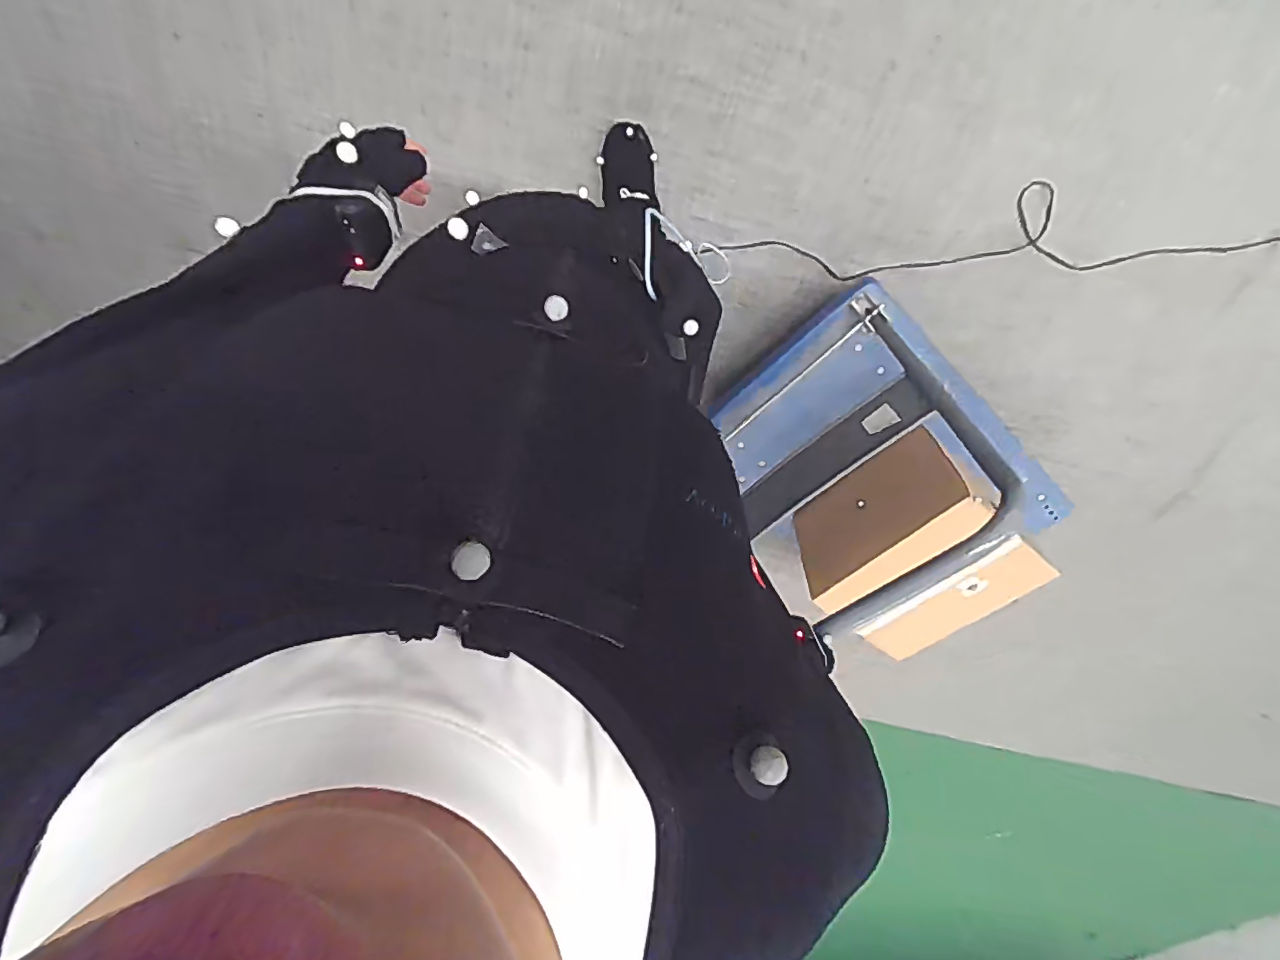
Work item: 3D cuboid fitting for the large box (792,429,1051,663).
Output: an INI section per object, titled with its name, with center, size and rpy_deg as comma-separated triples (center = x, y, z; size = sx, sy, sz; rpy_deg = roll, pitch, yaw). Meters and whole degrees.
[large box]
center = 0.637, 0.159, 1.307
size = 0.320, 0.320, 0.408
rpy_deg = 34, 120, -17
